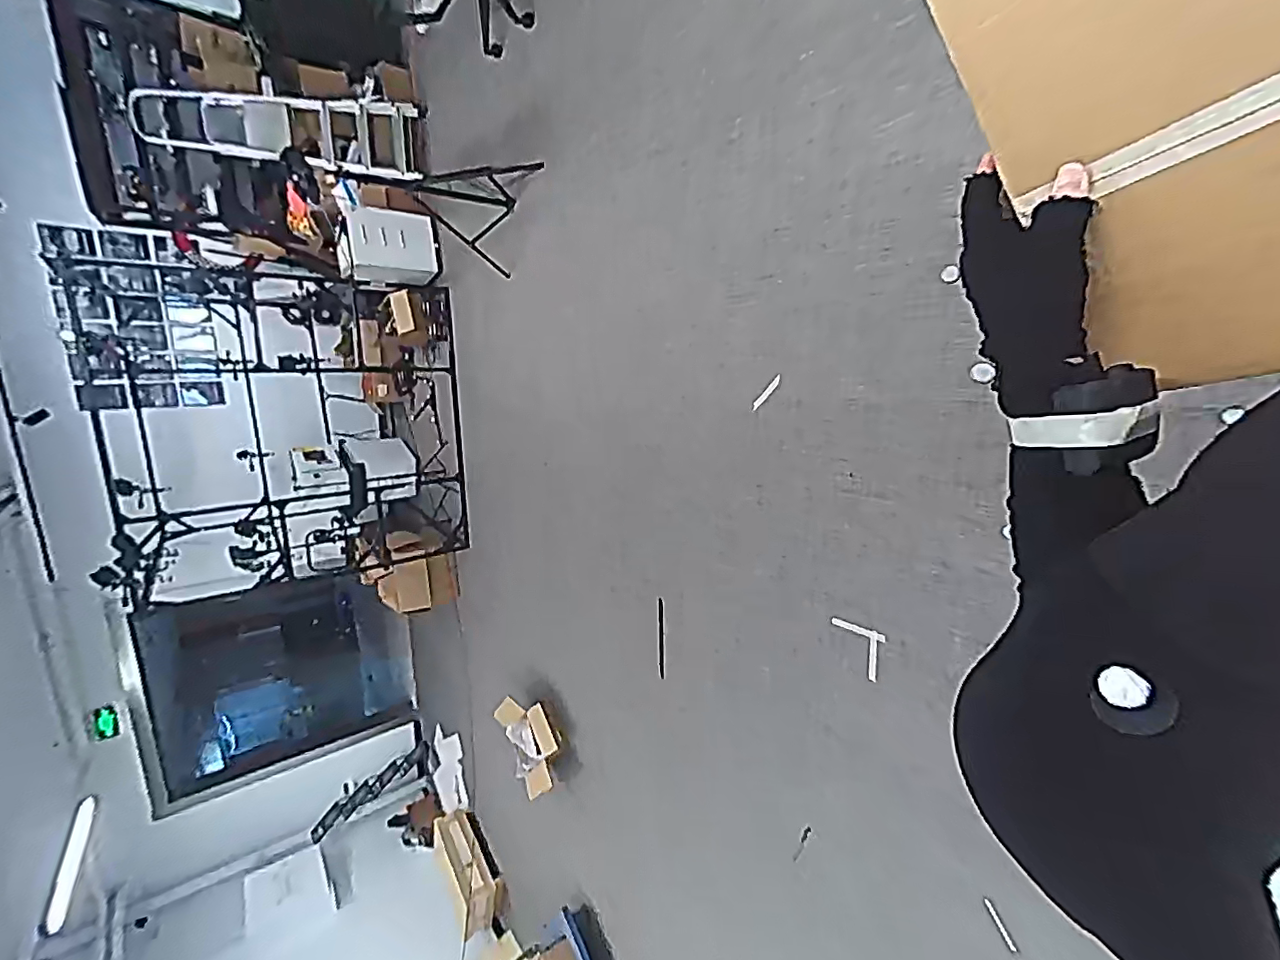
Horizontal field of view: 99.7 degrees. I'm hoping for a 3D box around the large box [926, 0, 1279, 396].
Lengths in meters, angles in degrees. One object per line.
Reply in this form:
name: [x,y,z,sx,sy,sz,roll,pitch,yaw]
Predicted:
large box: [0.450,-0.293,0.266,0.320,0.320,0.408,51,152,-17]
